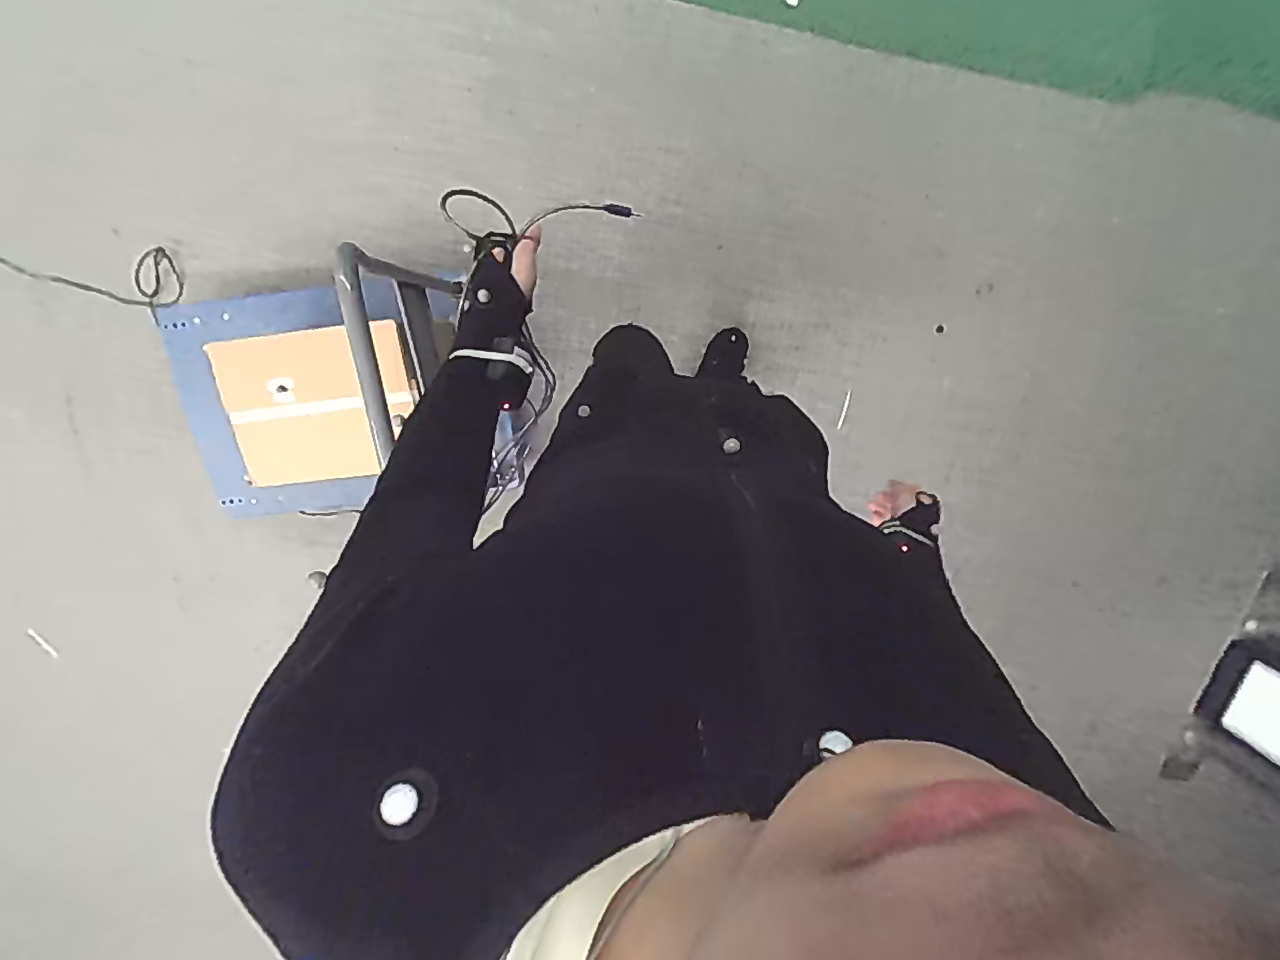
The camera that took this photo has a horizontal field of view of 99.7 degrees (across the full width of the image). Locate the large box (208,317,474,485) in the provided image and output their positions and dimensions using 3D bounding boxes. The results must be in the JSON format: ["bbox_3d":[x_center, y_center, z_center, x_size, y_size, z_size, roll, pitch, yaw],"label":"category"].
[{"bbox_3d":[-0.660,-0.197,1.268,0.408,0.320,0.320,-6,105,4],"label":"large box"}]
